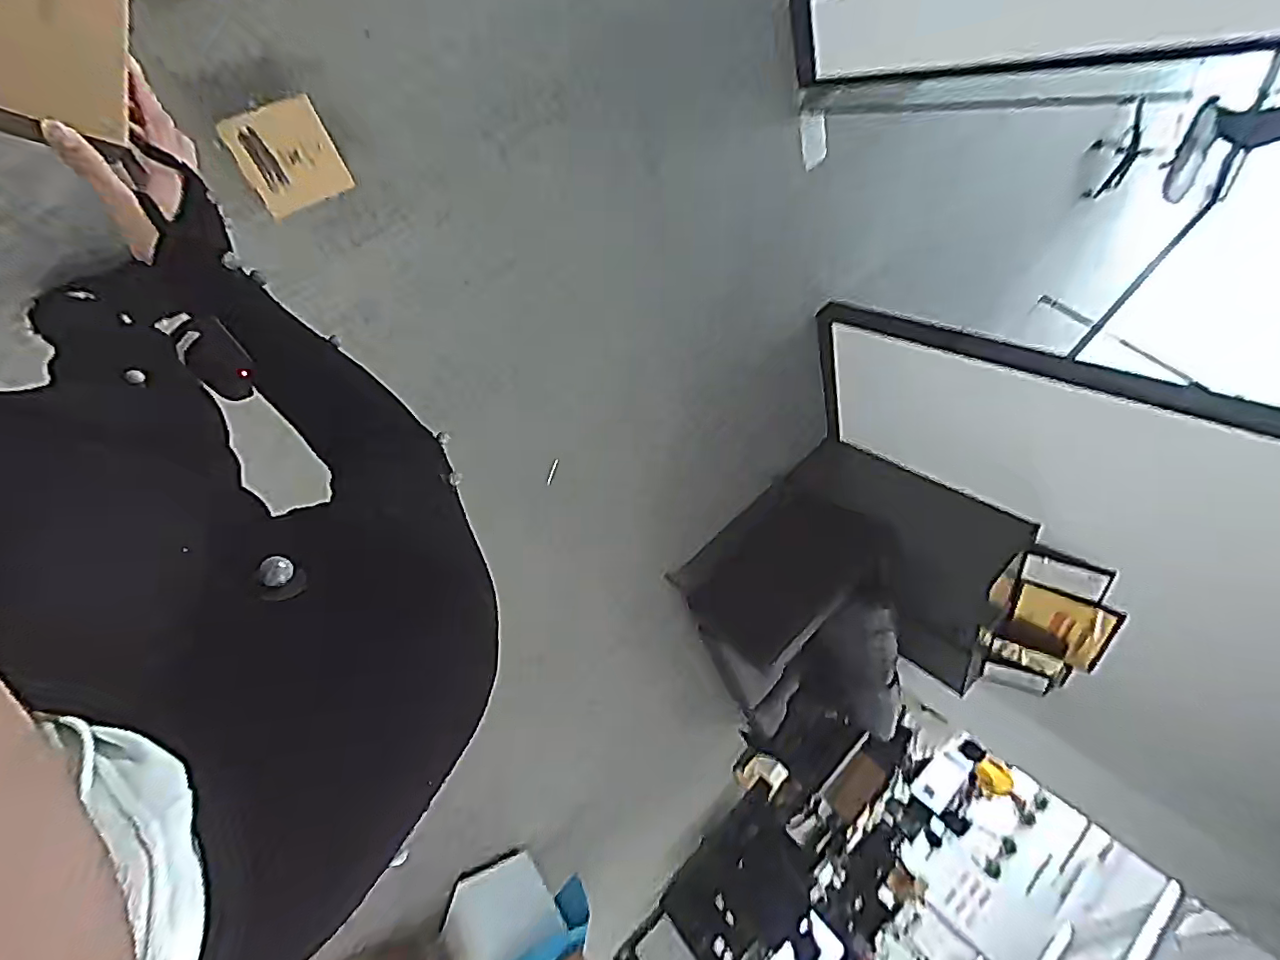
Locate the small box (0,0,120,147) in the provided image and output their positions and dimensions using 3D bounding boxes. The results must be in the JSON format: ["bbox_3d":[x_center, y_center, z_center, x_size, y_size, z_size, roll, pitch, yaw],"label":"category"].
[{"bbox_3d":[-0.512,-0.372,0.401,0.179,0.176,0.168,-3,109,-47],"label":"small box"}]
